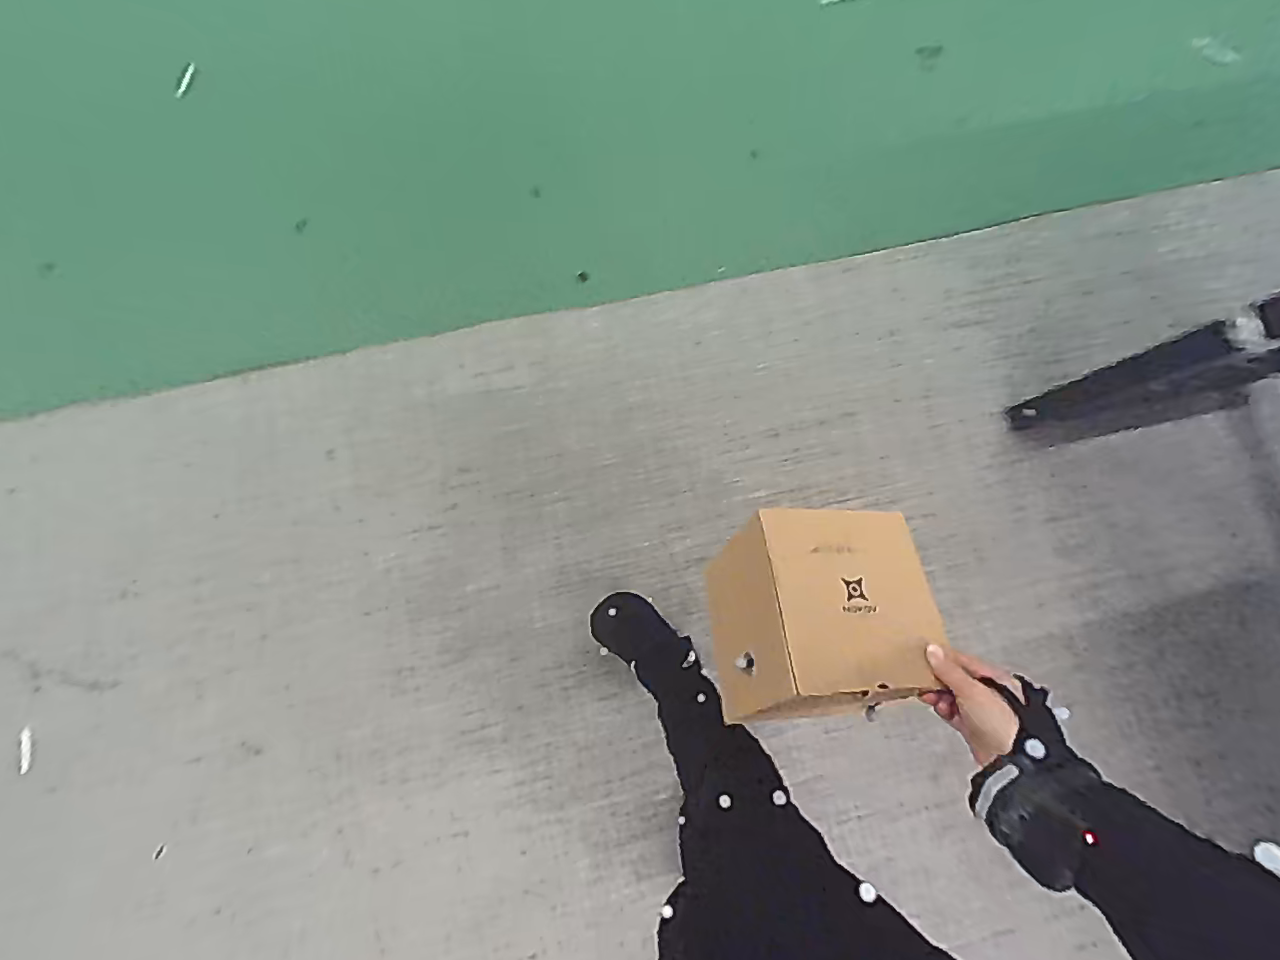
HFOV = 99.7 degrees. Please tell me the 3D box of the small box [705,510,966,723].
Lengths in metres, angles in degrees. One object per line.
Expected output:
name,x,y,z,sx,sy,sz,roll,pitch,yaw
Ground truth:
small box,0.179,0.148,0.556,0.168,0.176,0.179,4,59,-16
